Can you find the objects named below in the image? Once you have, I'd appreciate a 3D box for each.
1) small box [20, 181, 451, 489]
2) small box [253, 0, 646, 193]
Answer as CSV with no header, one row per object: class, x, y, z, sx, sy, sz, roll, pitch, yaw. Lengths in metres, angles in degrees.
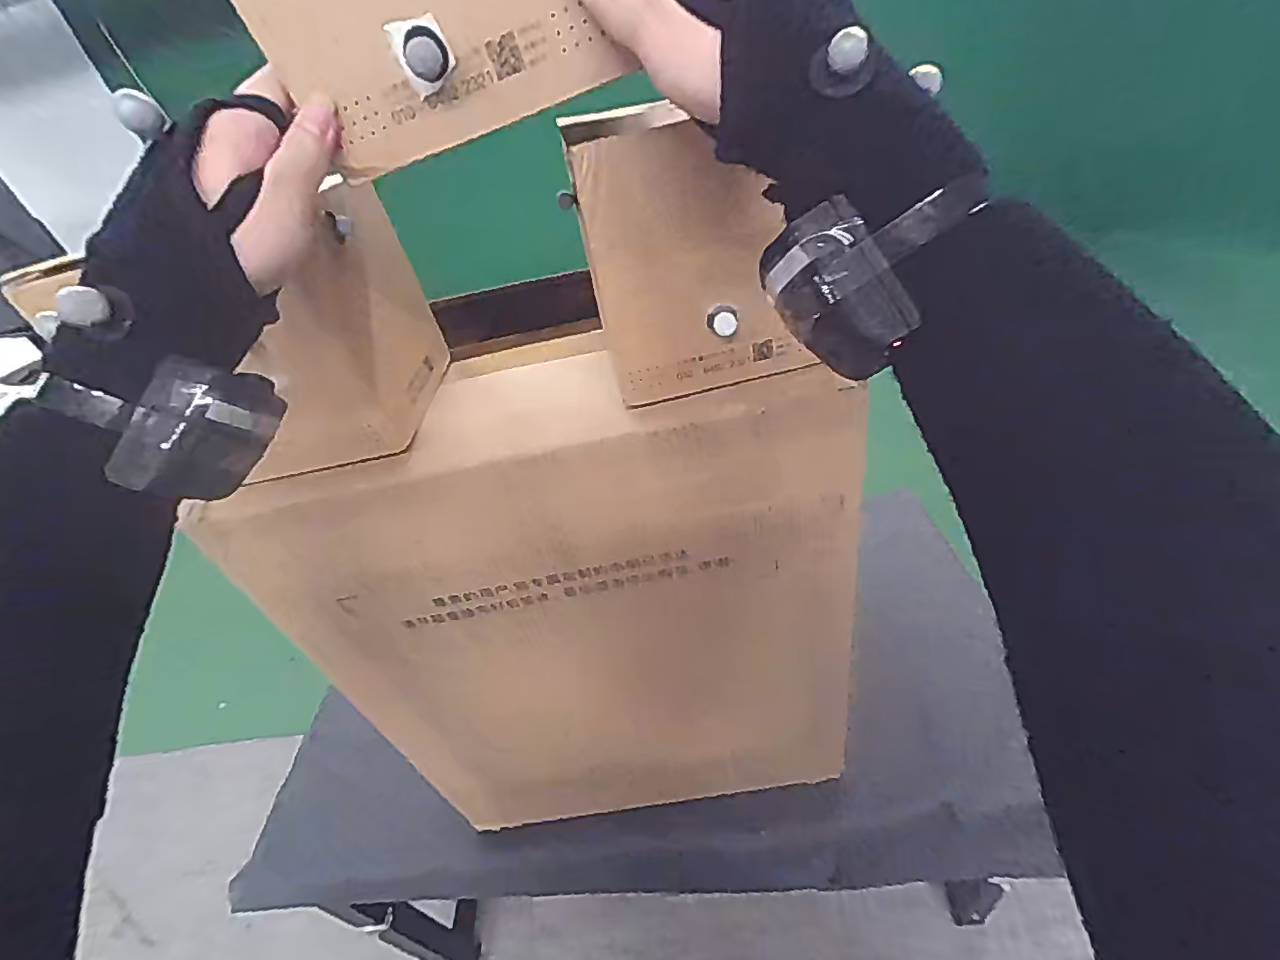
small box,-0.282,-0.112,0.431,0.179,0.176,0.168,-12,38,5
small box,-0.102,-0.280,0.290,0.168,0.176,0.179,-17,40,11
